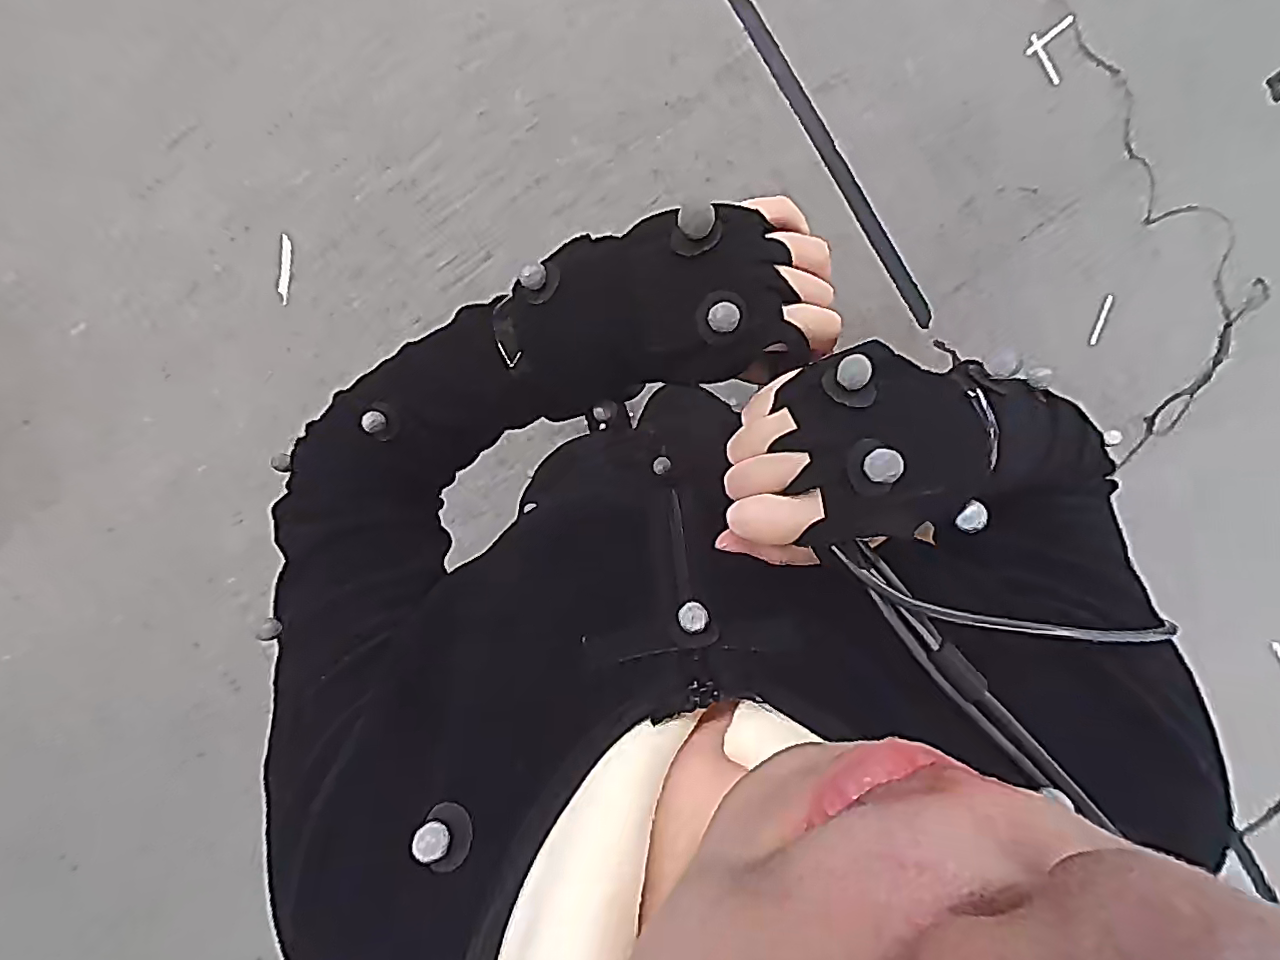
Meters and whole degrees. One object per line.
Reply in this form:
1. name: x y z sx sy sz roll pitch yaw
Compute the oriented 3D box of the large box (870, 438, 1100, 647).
1. large box: 0.750 0.119 1.232 0.320 0.320 0.408 -1 99 -3
